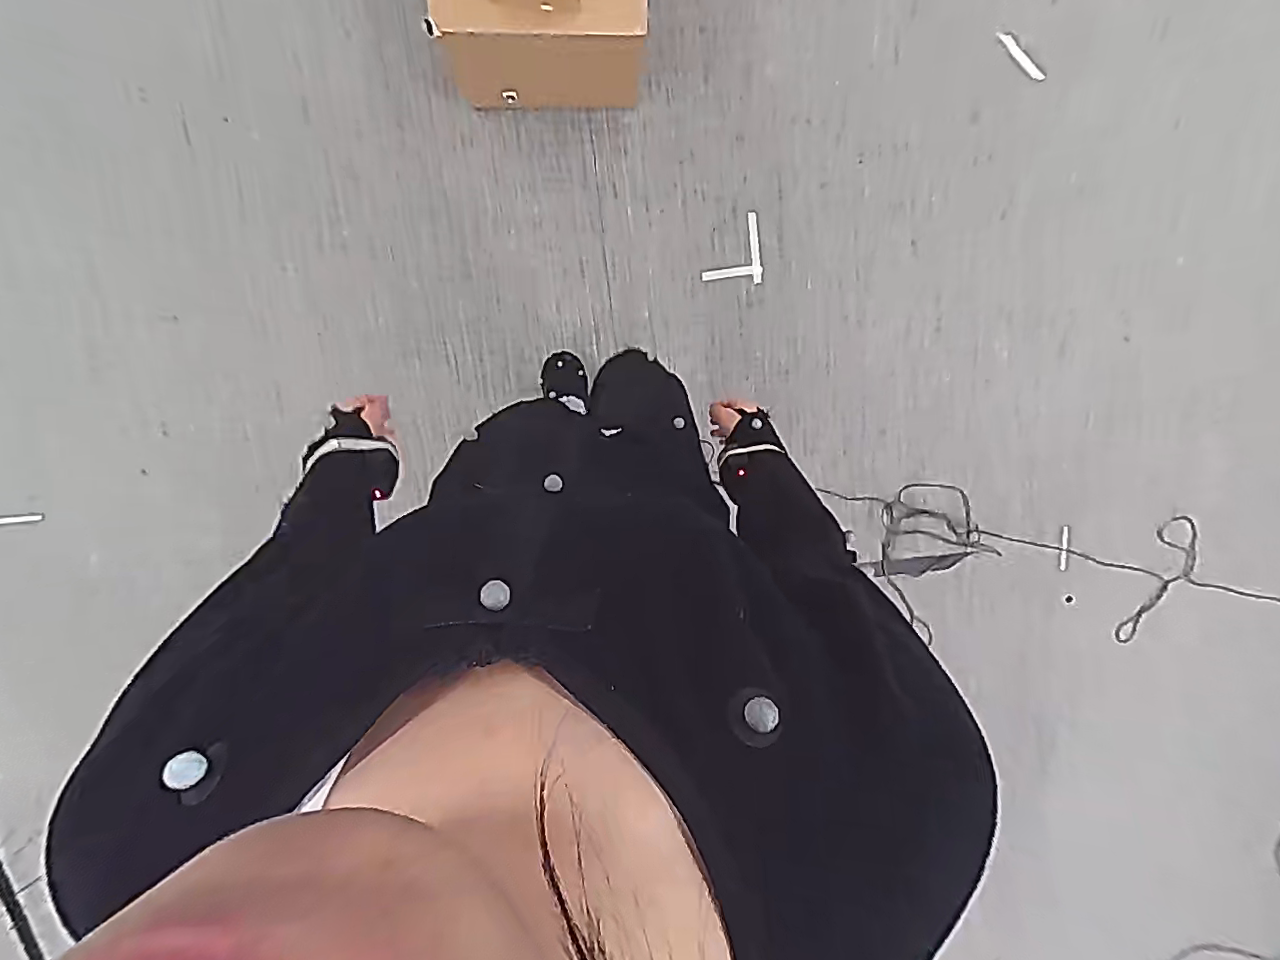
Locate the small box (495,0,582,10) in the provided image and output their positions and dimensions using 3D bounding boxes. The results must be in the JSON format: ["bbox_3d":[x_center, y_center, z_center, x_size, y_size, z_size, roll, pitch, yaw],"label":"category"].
[{"bbox_3d":[-0.186,-0.932,0.900,0.179,0.176,0.168,1,102,-5],"label":"small box"}]
